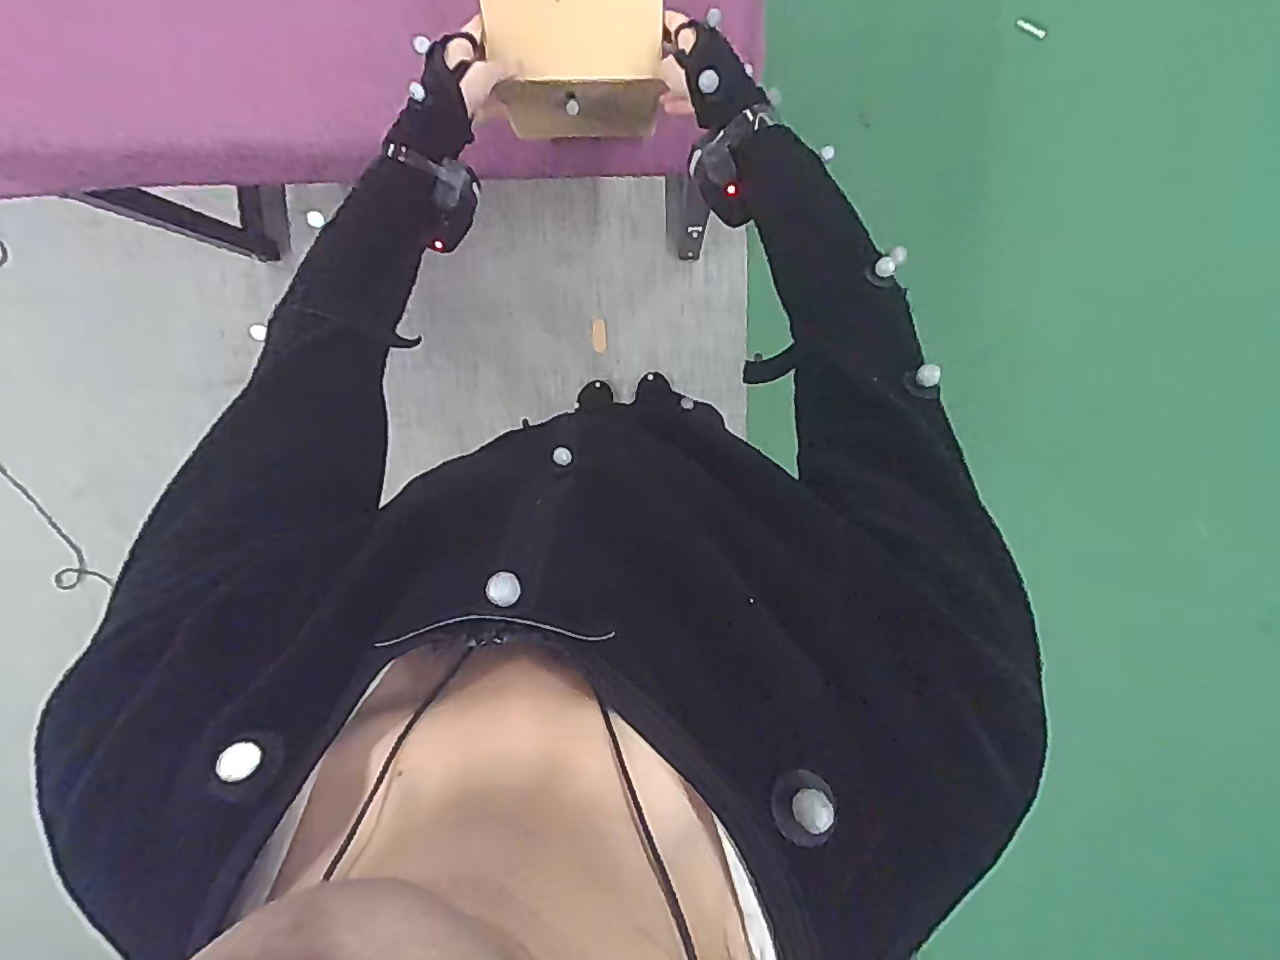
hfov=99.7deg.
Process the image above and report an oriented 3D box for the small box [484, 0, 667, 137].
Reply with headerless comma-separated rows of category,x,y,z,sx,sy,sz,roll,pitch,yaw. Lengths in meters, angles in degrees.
small box,-0.063,-0.493,0.590,0.179,0.176,0.168,-1,107,2
